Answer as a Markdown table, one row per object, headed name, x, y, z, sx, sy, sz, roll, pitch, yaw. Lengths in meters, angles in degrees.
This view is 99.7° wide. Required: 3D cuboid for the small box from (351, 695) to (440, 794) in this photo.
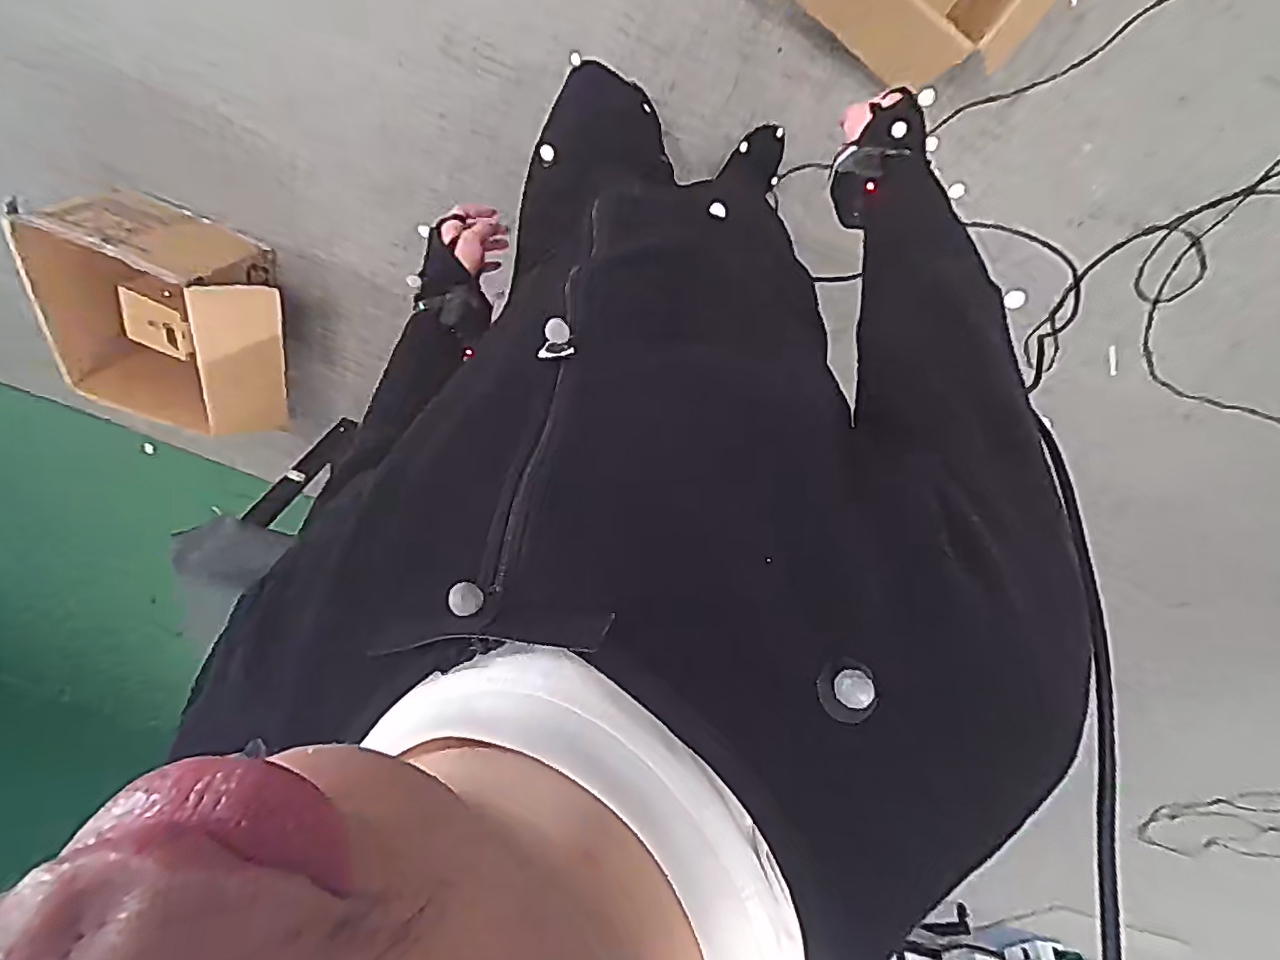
| name | x | y | z | sx | sy | sz | roll | pitch | yaw |
| --- | --- | --- | --- | --- | --- | --- | --- | --- | --- |
| small box | -0.675 | 0.731 | 1.500 | 0.168 | 0.176 | 0.179 | 21 | 127 | -7 |
